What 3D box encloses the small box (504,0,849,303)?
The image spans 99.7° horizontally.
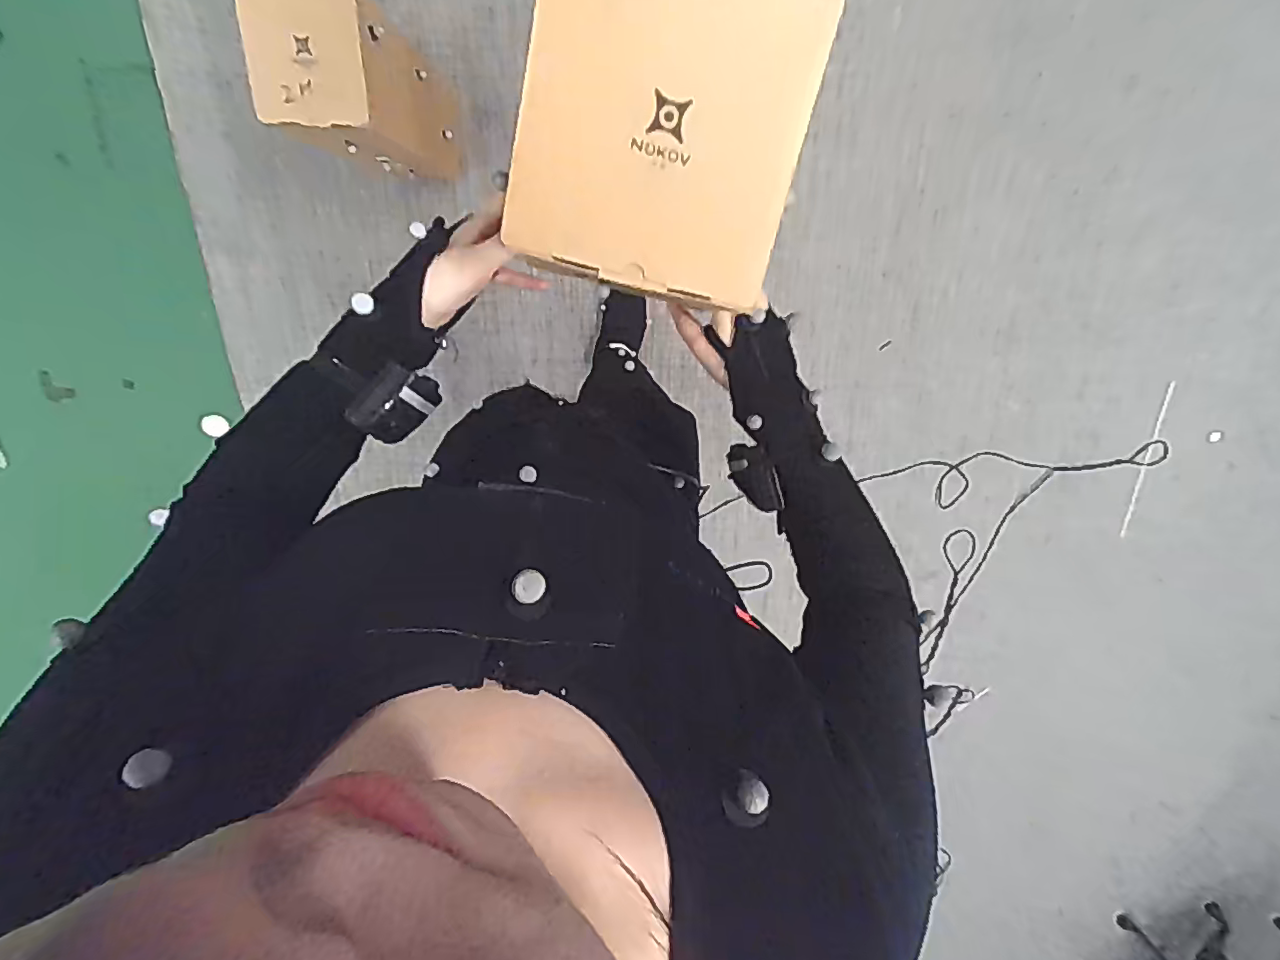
[{"bbox_3d":[0.010,-0.234,0.379,0.168,0.176,0.179,11,109,-9],"label":"small box"}]

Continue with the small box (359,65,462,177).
[{"bbox_3d":[-0.479,-0.748,1.132,0.168,0.176,0.179,4,111,-4],"label":"small box"}]

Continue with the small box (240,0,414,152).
[{"bbox_3d":[-0.464,-0.626,0.829,0.168,0.176,0.179,2,111,-1],"label":"small box"}]
